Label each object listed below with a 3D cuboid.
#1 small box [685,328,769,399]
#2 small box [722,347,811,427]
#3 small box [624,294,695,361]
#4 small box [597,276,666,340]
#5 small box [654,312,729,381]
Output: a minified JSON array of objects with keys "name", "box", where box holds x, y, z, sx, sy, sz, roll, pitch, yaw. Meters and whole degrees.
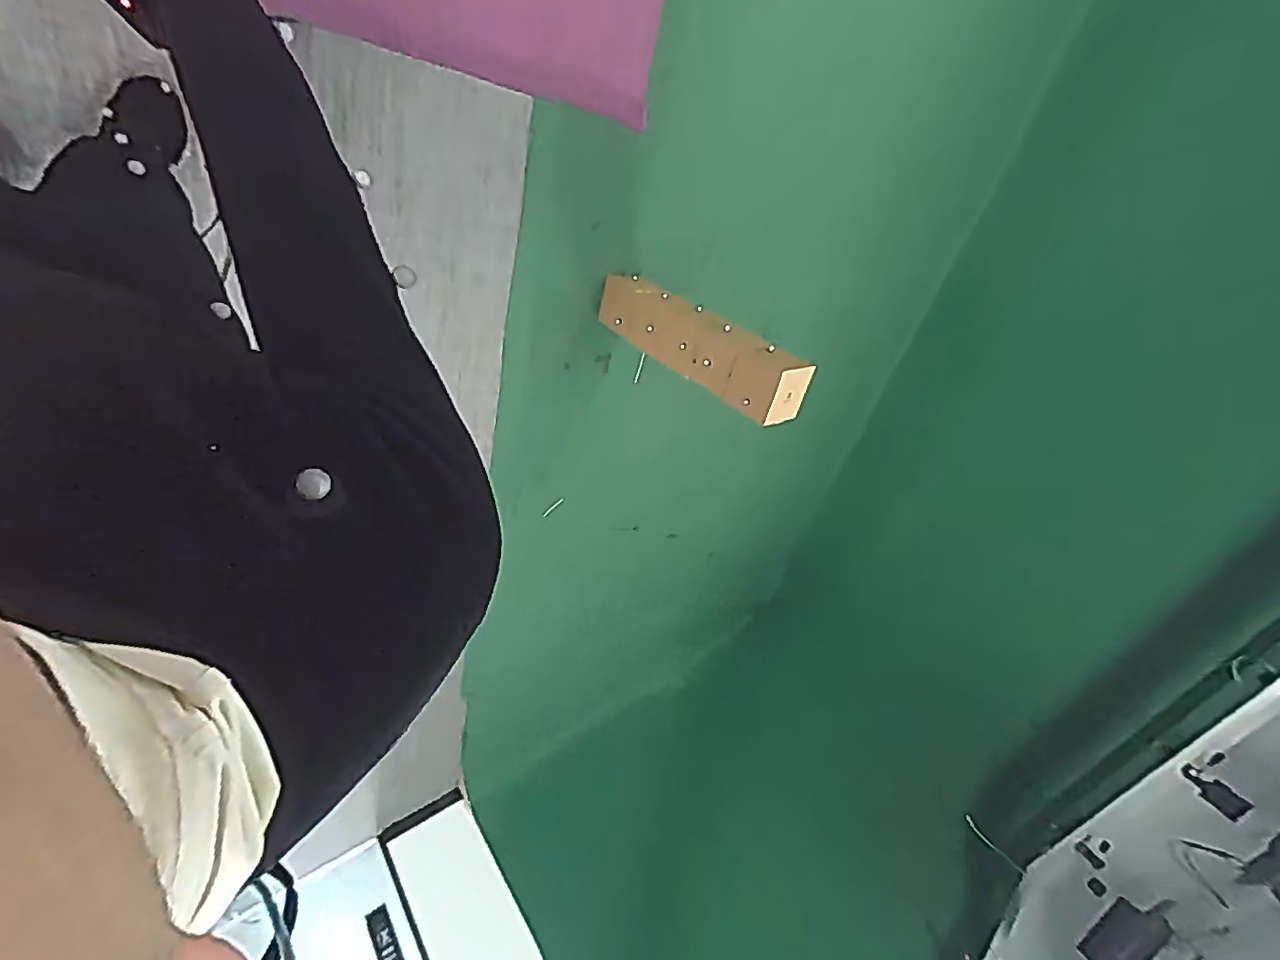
[{"name":"small box","box":[0.269,-0.371,1.704,0.179,0.176,0.168,-14,132,-38]},{"name":"small box","box":[0.371,-0.281,1.613,0.168,0.176,0.179,-16,132,-39]},{"name":"small box","box":[0.062,-0.538,1.896,0.168,0.176,0.179,-15,132,-38]},{"name":"small box","box":[-0.038,-0.630,1.984,0.168,0.176,0.179,-13,132,-40]},{"name":"small box","box":[0.166,-0.452,1.801,0.168,0.176,0.179,-16,134,-37]}]
